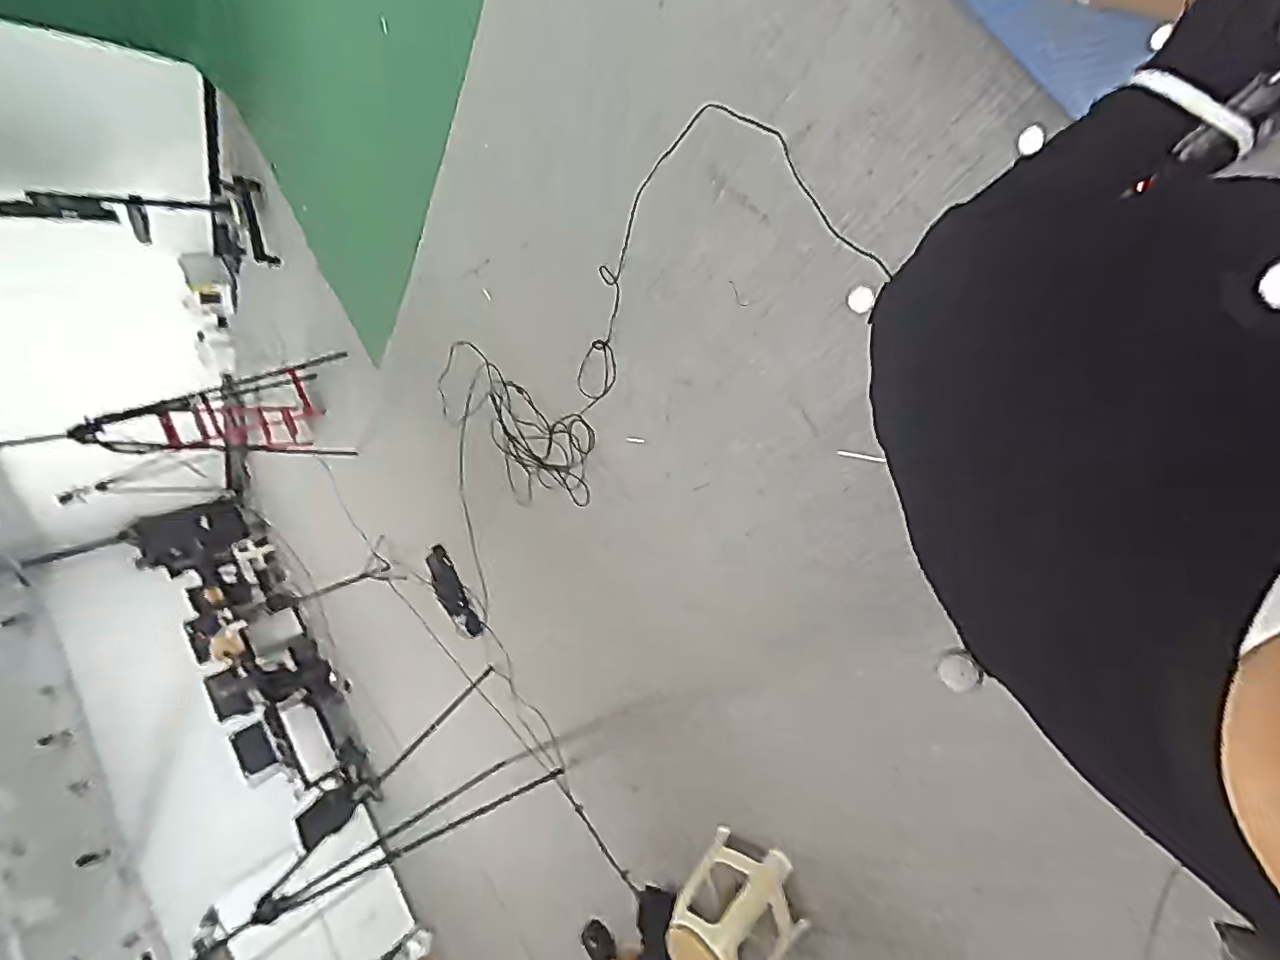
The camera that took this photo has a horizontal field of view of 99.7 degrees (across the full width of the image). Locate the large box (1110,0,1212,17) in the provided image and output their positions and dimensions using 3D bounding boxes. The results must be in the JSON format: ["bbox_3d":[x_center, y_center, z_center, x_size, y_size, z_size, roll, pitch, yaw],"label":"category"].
[{"bbox_3d":[0.707,-0.899,0.667,0.320,0.320,0.408,42,131,26],"label":"large box"}]
